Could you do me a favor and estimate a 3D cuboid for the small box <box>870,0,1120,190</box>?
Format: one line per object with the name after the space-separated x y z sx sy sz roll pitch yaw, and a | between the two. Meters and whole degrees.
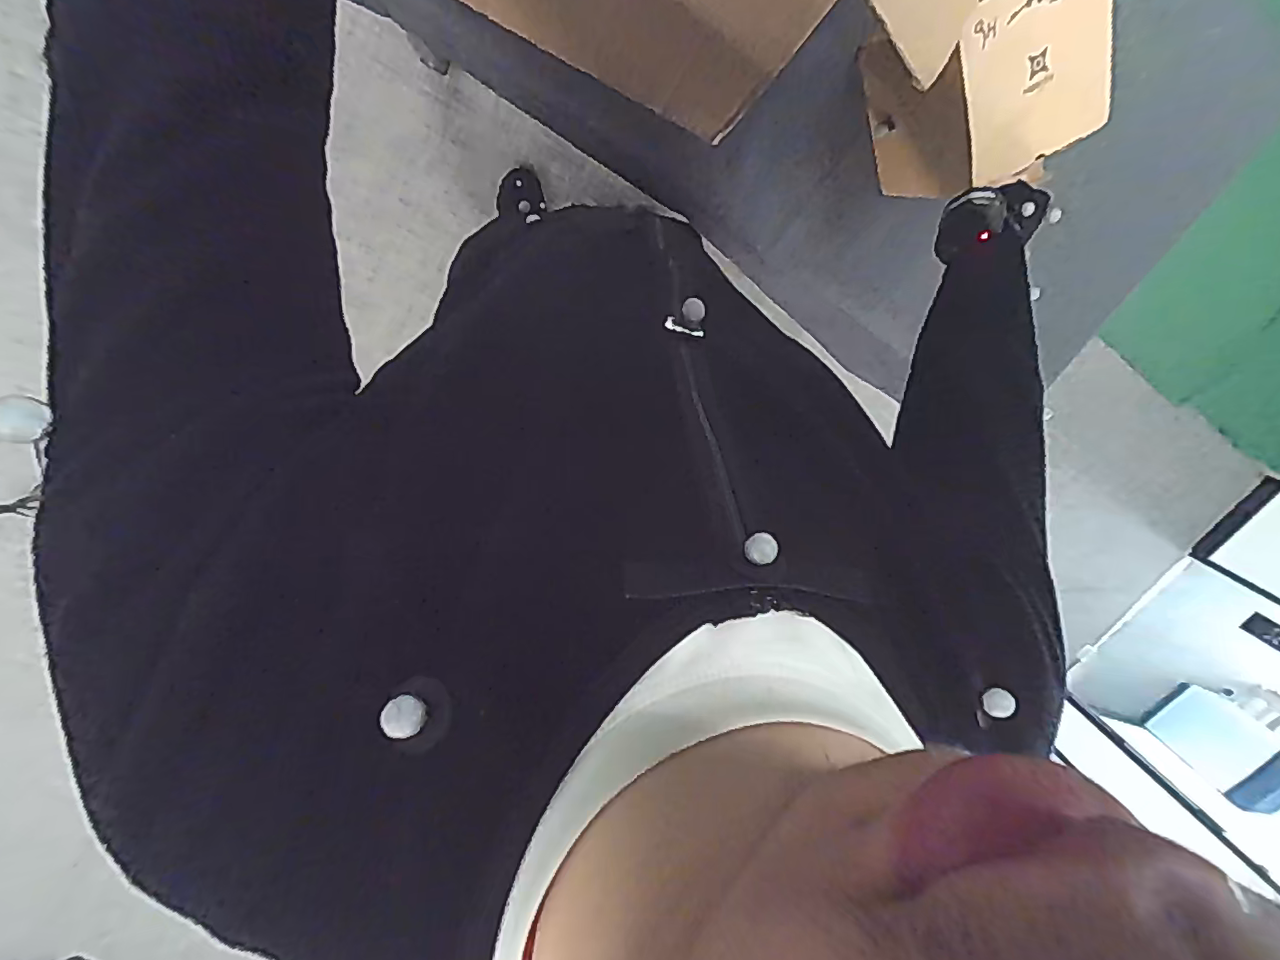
0.392 -0.463 0.618 0.168 0.176 0.179 -26 124 4 | small box
